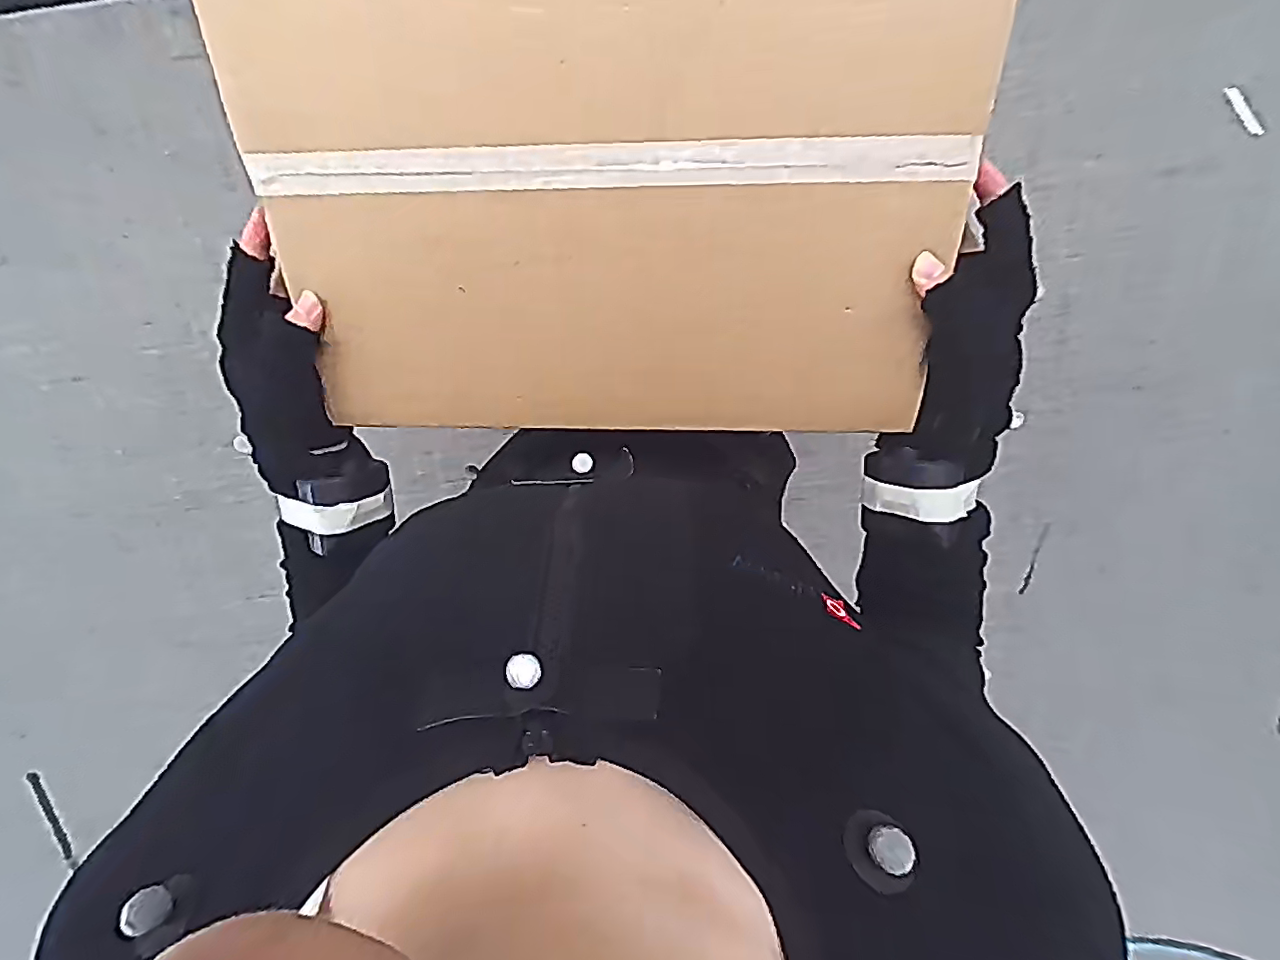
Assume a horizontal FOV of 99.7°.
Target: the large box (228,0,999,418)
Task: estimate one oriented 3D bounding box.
[{"bbox_3d":[-0.011,-0.250,0.442,0.408,0.320,0.320,1,119,4],"label":"large box"}]
